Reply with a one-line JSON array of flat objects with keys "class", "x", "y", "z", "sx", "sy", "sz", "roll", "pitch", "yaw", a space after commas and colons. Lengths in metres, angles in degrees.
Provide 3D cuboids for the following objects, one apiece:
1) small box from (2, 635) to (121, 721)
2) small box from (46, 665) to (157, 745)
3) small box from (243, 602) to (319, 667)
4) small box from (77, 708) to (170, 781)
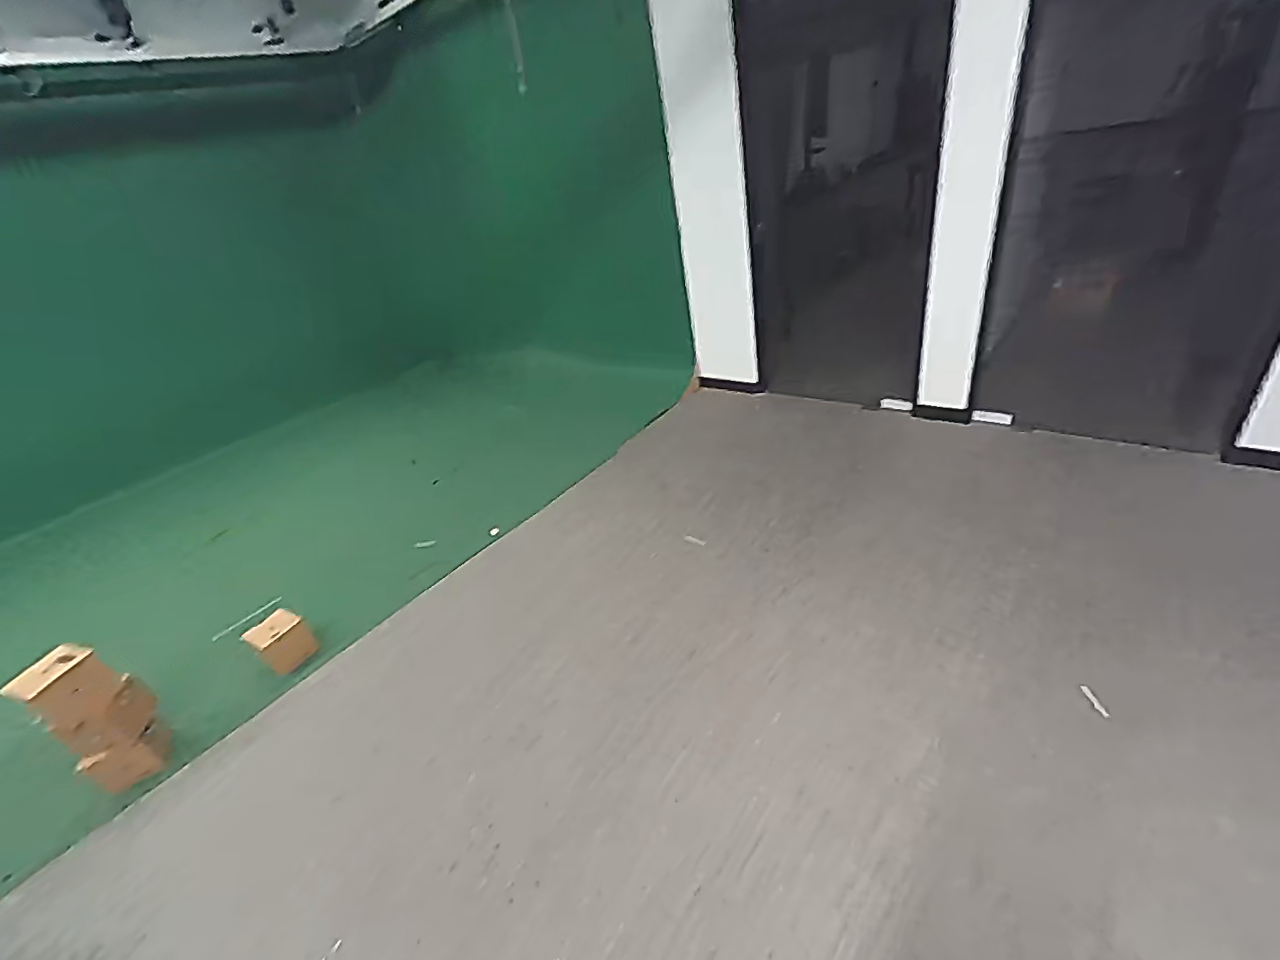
[{"class": "small box", "x": -1.818, "y": 0.626, "z": 1.715, "sx": 0.168, "sy": 0.176, "sz": 0.179, "roll": 3, "pitch": 36, "yaw": 19}, {"class": "small box", "x": -1.786, "y": 0.758, "z": 1.808, "sx": 0.168, "sy": 0.176, "sz": 0.179, "roll": -13, "pitch": 32, "yaw": -6}, {"class": "small box", "x": -1.463, "y": 0.631, "z": 2.209, "sx": 0.179, "sy": 0.176, "sz": 0.168, "roll": 10, "pitch": 37, "yaw": 31}, {"class": "small box", "x": -1.784, "y": 0.907, "z": 1.880, "sx": 0.168, "sy": 0.176, "sz": 0.179, "roll": -26, "pitch": 35, "yaw": -23}]
